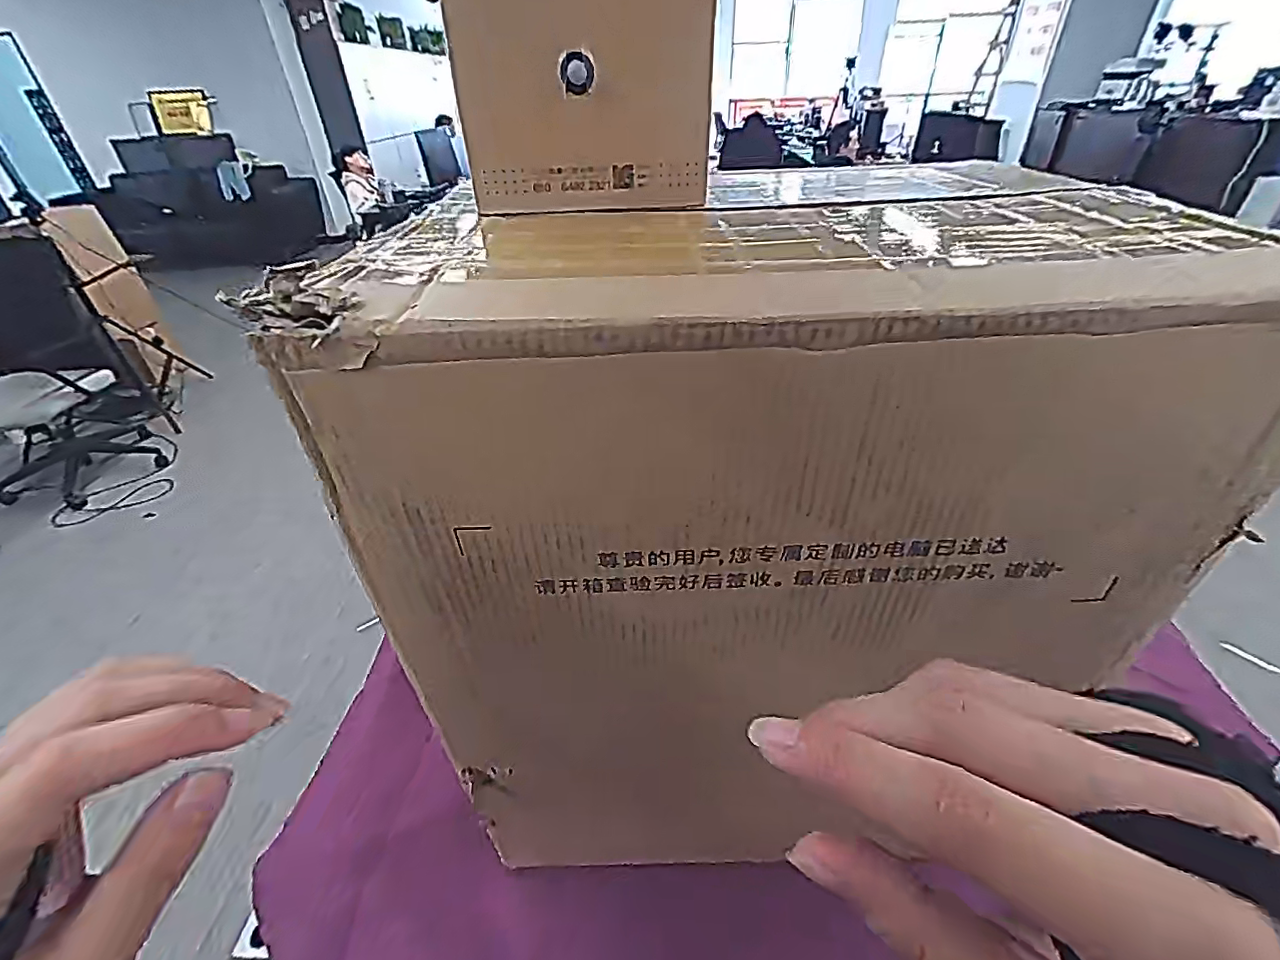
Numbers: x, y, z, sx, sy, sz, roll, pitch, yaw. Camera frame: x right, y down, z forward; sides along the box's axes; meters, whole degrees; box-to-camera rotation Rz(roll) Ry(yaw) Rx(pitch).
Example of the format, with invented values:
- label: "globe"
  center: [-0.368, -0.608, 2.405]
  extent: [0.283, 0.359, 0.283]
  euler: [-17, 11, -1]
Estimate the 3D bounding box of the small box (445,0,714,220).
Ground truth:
- label: "small box"
  center: [-0.041, -0.301, 0.408]
  extent: [0.168, 0.176, 0.179]
  euler: [-4, 36, -5]
